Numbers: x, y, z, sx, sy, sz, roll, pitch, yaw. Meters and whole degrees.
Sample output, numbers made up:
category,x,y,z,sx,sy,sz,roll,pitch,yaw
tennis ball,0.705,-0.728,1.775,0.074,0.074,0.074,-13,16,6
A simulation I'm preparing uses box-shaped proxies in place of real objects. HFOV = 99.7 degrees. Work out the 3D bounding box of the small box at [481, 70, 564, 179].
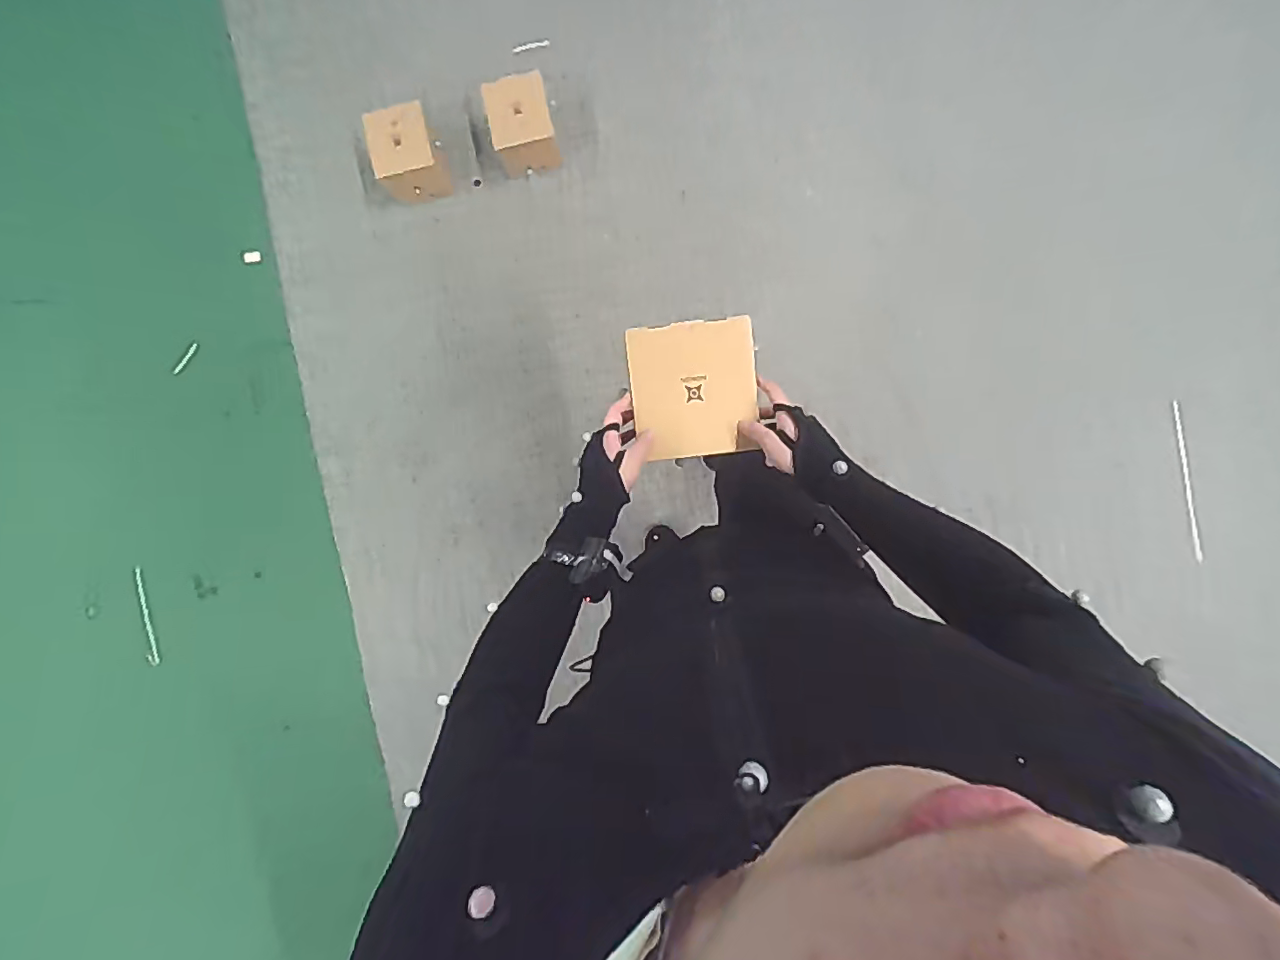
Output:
category,x,y,z,sx,sy,sz,roll,pitch,yaw
small box,-0.319,-0.975,1.494,0.168,0.176,0.179,-12,93,3

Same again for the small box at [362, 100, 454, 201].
category,x,y,z,sx,sy,sz,roll,pitch,yaw
small box,-0.639,-0.906,1.510,0.168,0.176,0.179,-12,92,3

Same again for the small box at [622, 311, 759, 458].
category,x,y,z,sx,sy,sz,roll,pitch,yaw
small box,0.067,-0.127,0.770,0.168,0.176,0.179,-6,93,1
